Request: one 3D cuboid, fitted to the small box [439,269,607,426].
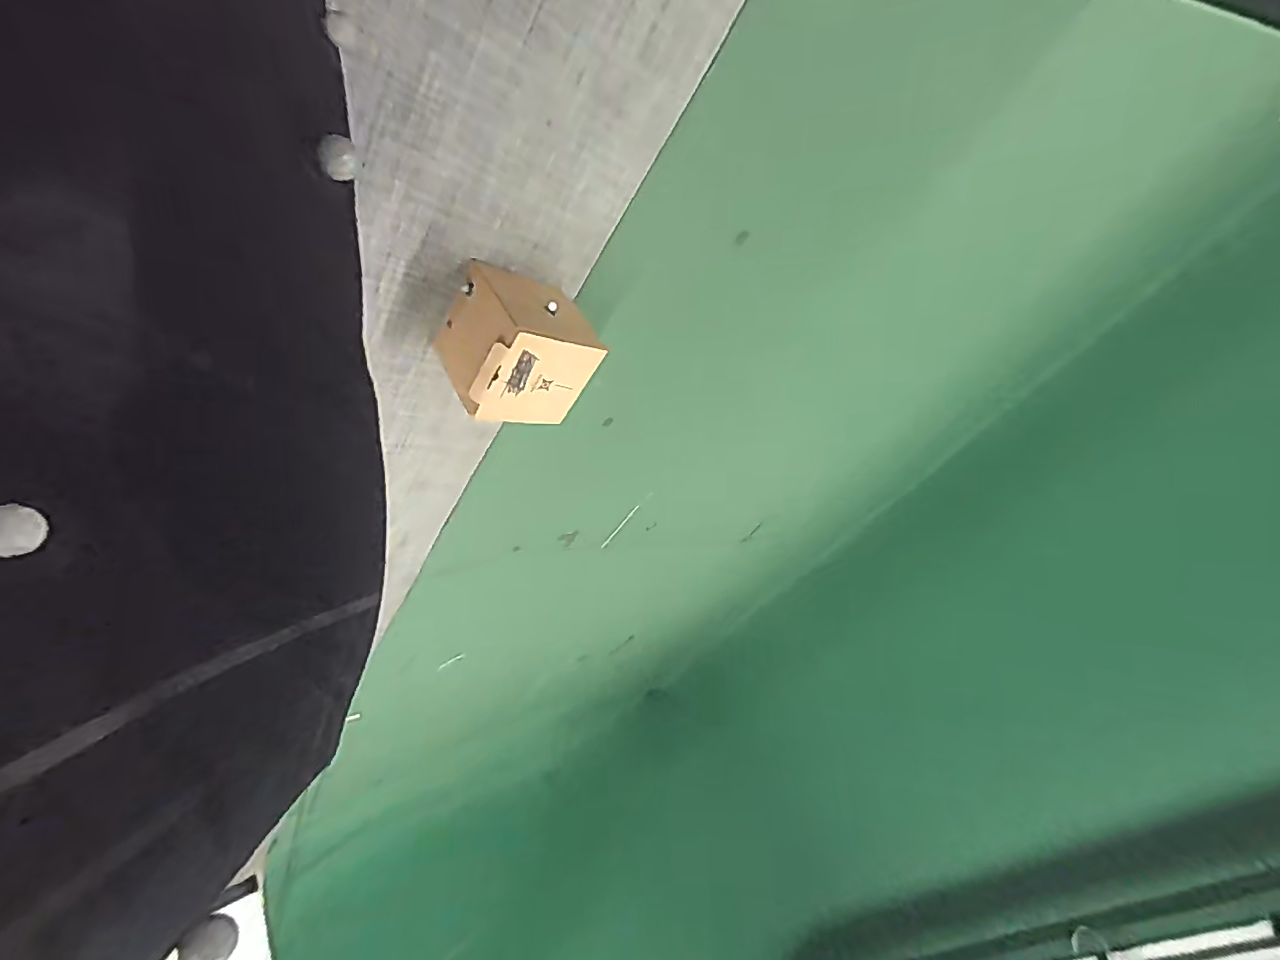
[{"bbox_3d":[-0.193,-0.207,0.860,0.179,0.176,0.168,-1,139,-48],"label":"small box"}]
